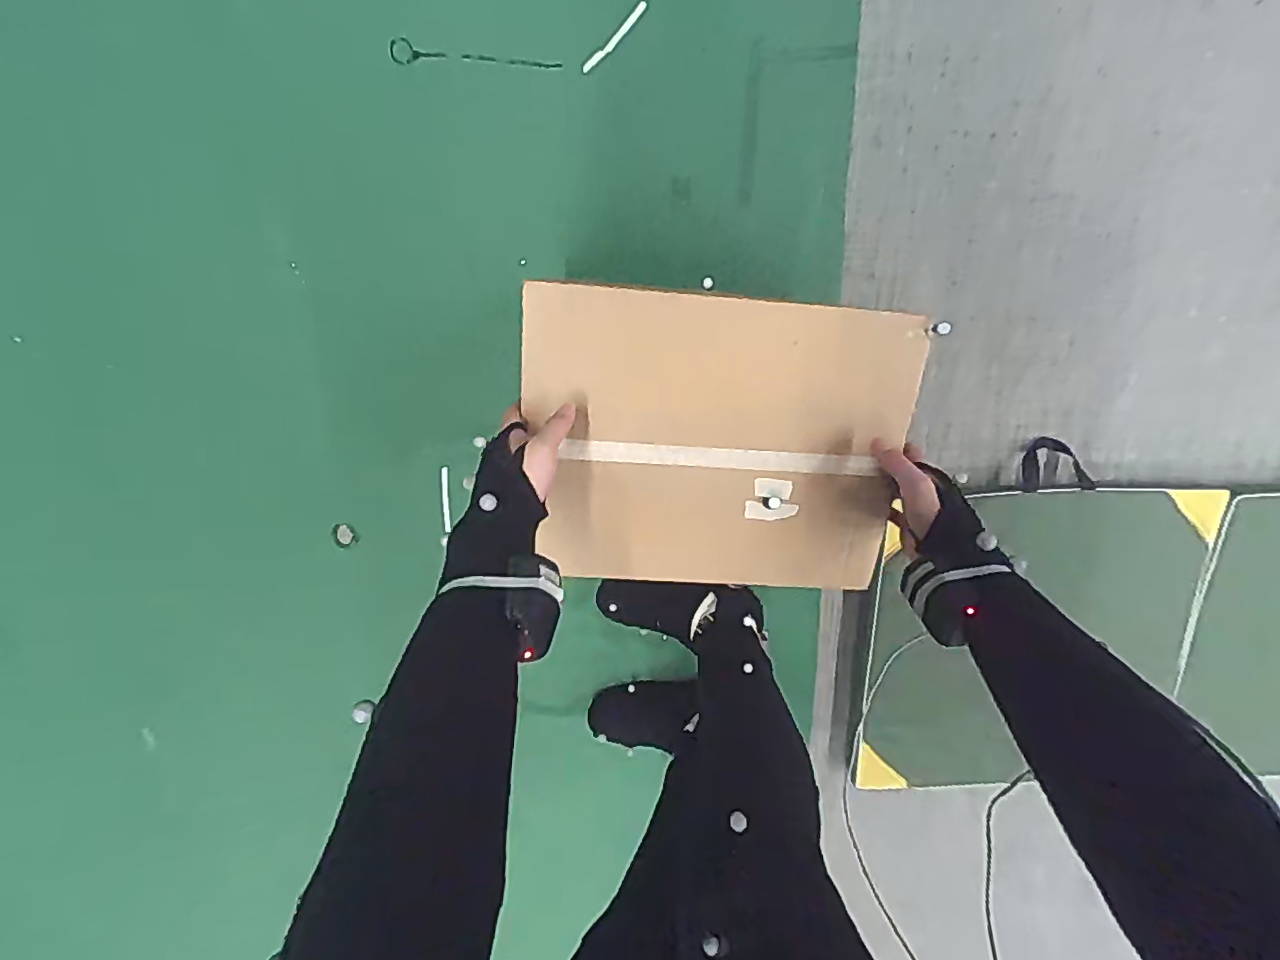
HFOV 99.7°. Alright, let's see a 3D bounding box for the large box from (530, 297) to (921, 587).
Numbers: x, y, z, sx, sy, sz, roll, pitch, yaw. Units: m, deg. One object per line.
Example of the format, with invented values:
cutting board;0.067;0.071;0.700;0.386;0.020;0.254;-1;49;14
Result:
large box;0.072;-0.071;0.725;0.408;0.320;0.320;3;110;-5
